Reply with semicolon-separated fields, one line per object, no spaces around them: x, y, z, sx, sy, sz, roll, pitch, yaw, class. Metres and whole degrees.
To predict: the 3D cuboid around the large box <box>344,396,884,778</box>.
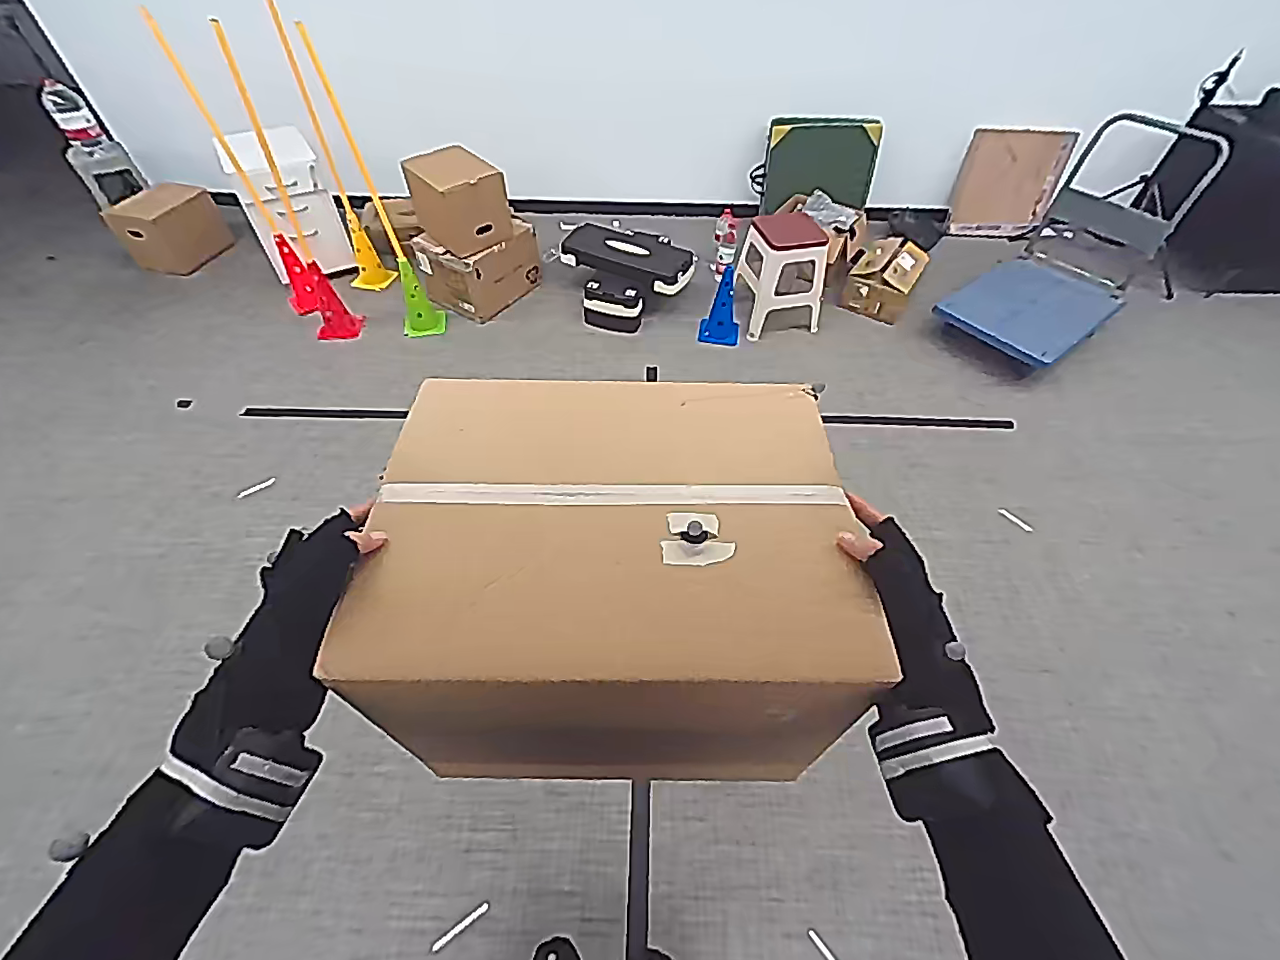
-0.022;0.123;0.599;0.408;0.320;0.320;1;50;-1;large box
